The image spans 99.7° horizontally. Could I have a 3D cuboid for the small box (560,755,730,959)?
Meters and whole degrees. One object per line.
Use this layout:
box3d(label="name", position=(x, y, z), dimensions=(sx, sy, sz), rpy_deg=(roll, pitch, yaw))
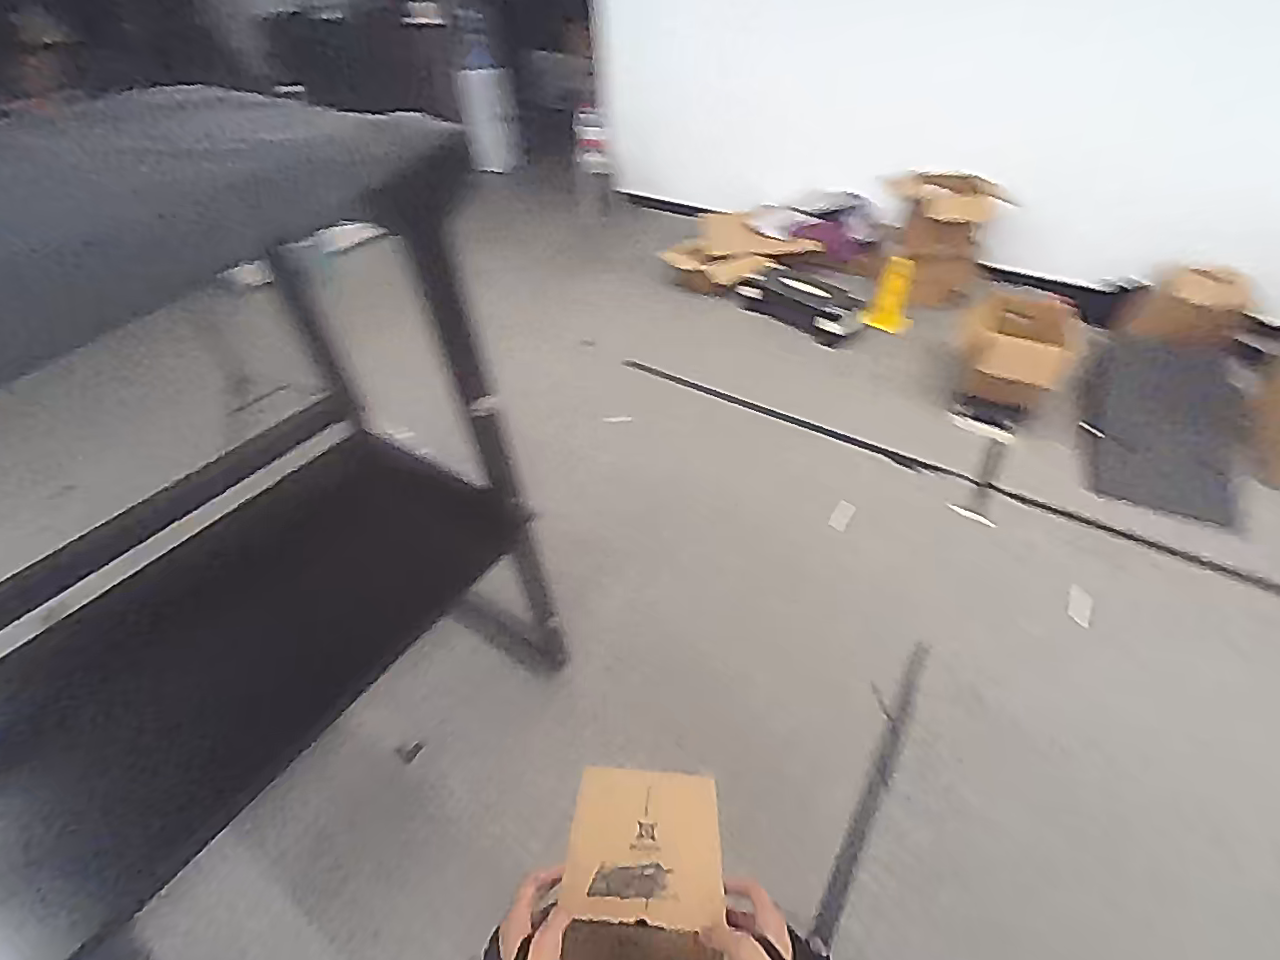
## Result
box3d(label="small box", position=(0.008, 0.454, 0.617), dimensions=(0.168, 0.176, 0.179), rpy_deg=(5, 21, 3))
